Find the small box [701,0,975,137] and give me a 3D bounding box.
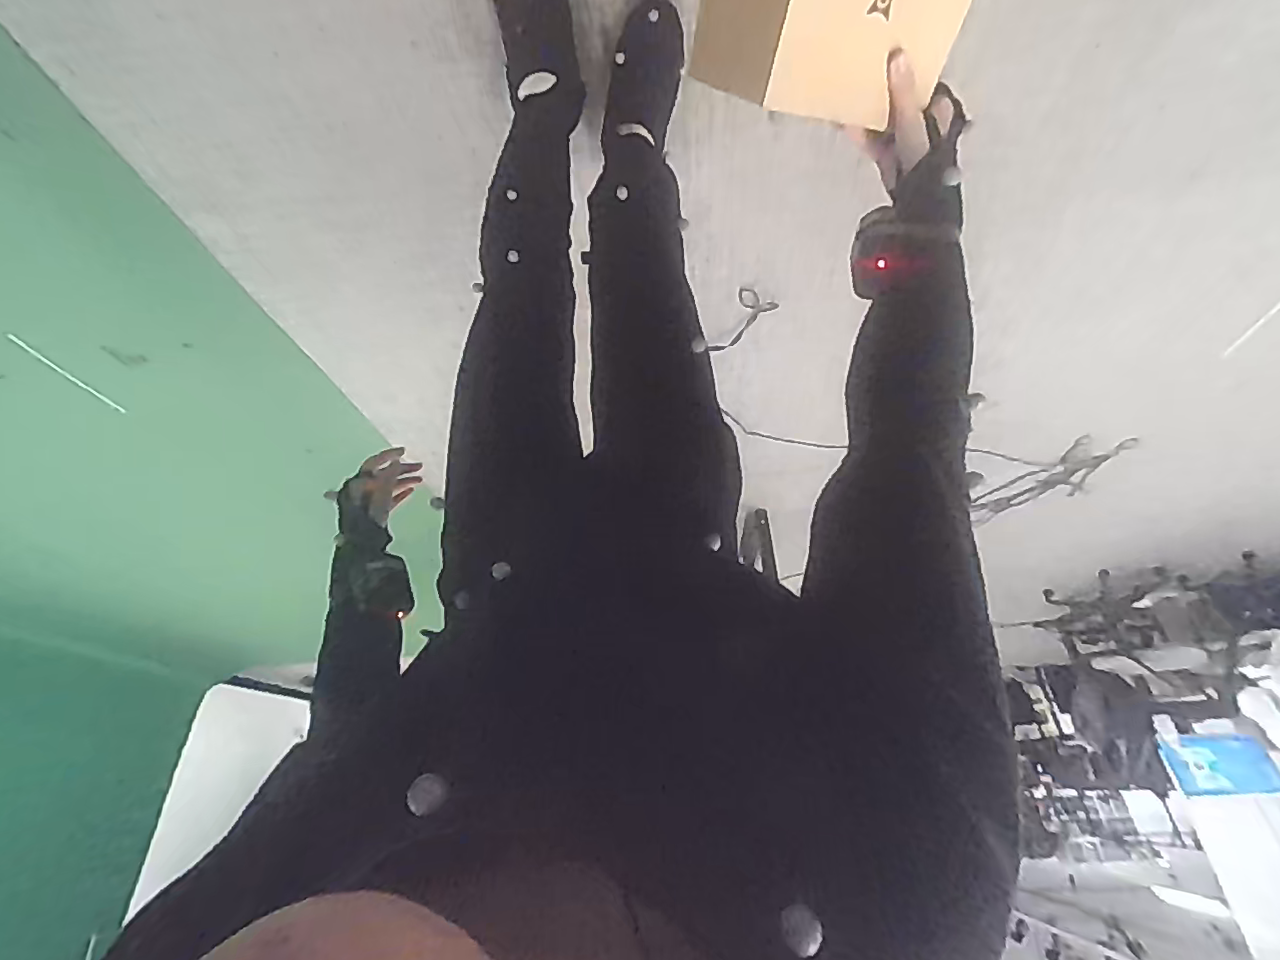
[{"bbox_3d":[0.168,-0.427,0.471,0.168,0.176,0.179,-4,131,-19],"label":"small box"}]
